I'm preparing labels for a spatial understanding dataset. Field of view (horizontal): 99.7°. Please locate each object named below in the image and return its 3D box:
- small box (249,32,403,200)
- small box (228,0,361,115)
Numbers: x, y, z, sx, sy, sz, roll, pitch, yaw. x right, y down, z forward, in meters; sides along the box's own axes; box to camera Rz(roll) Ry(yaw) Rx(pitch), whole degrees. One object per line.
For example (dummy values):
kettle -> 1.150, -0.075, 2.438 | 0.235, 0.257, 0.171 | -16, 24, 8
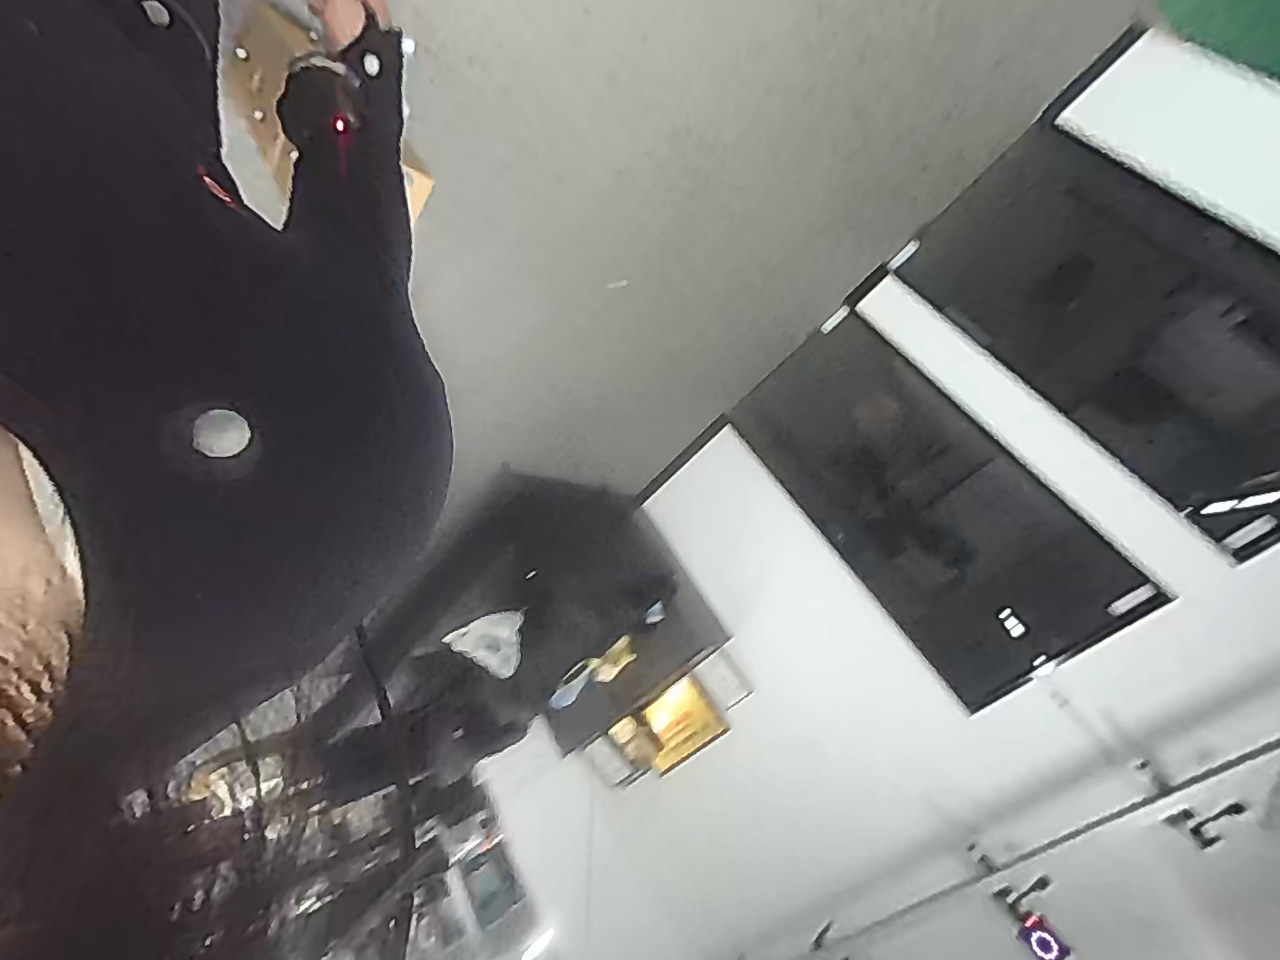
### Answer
small box -> -0.577, -0.662, 0.986 | 0.168, 0.176, 0.179 | -44, 156, 25
small box -> -0.667, -0.780, 1.055 | 0.168, 0.176, 0.179 | -44, 155, 22
